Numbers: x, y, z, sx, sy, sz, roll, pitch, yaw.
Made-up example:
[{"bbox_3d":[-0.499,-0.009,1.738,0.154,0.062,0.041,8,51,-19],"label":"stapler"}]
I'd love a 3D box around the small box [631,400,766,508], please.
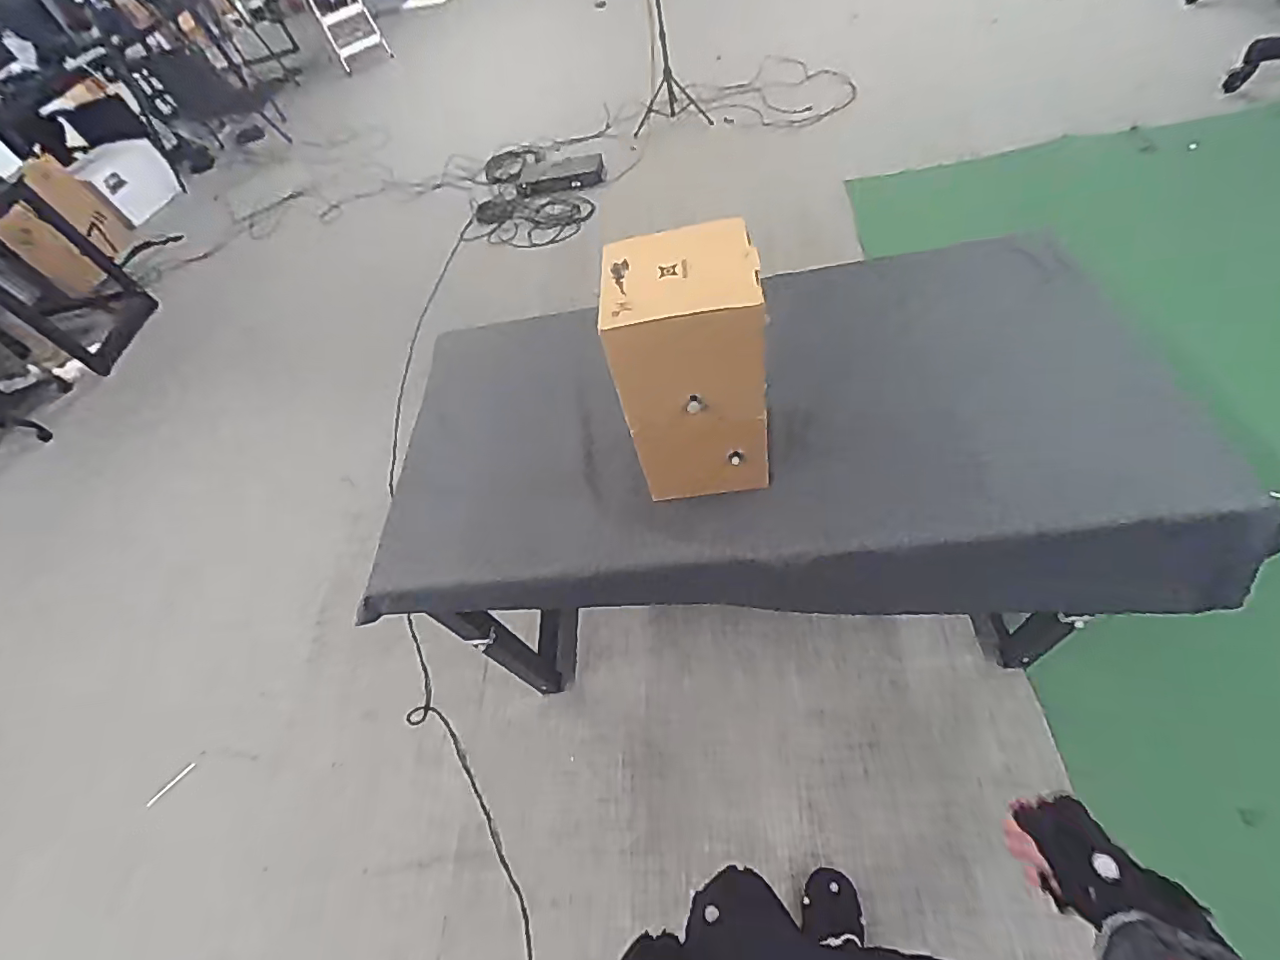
[{"bbox_3d":[0.089,-0.076,0.801,0.179,0.176,0.168,-9,52,10],"label":"small box"}]

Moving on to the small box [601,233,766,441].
[{"bbox_3d":[0.055,-0.170,0.674,0.179,0.176,0.168,-10,54,8],"label":"small box"}]
